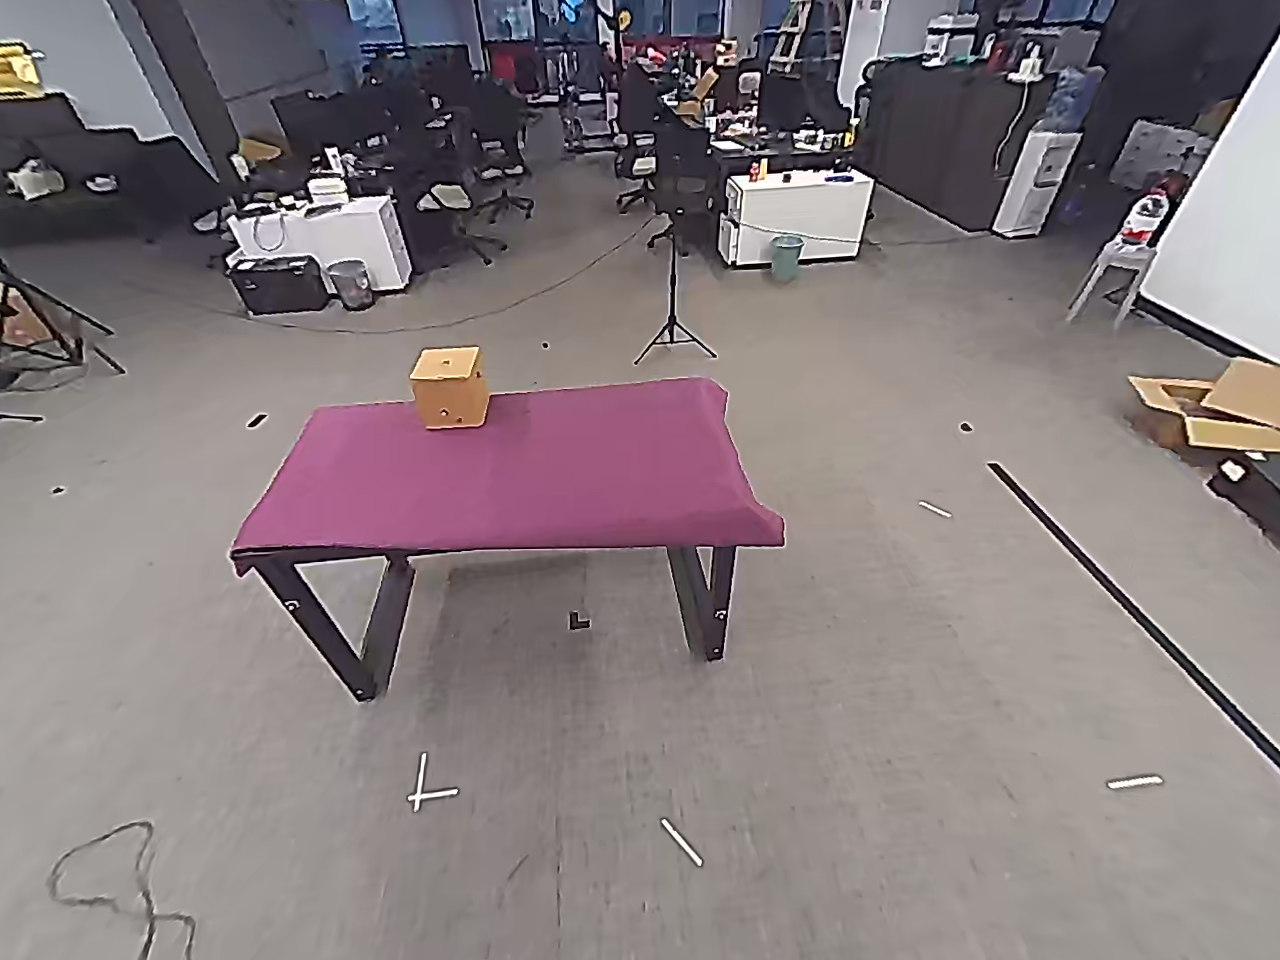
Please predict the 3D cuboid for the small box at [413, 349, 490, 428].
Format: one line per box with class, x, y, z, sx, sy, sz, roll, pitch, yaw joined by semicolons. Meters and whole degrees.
small box;-0.546;-0.269;1.594;0.168;0.176;0.179;-3;42;-2
